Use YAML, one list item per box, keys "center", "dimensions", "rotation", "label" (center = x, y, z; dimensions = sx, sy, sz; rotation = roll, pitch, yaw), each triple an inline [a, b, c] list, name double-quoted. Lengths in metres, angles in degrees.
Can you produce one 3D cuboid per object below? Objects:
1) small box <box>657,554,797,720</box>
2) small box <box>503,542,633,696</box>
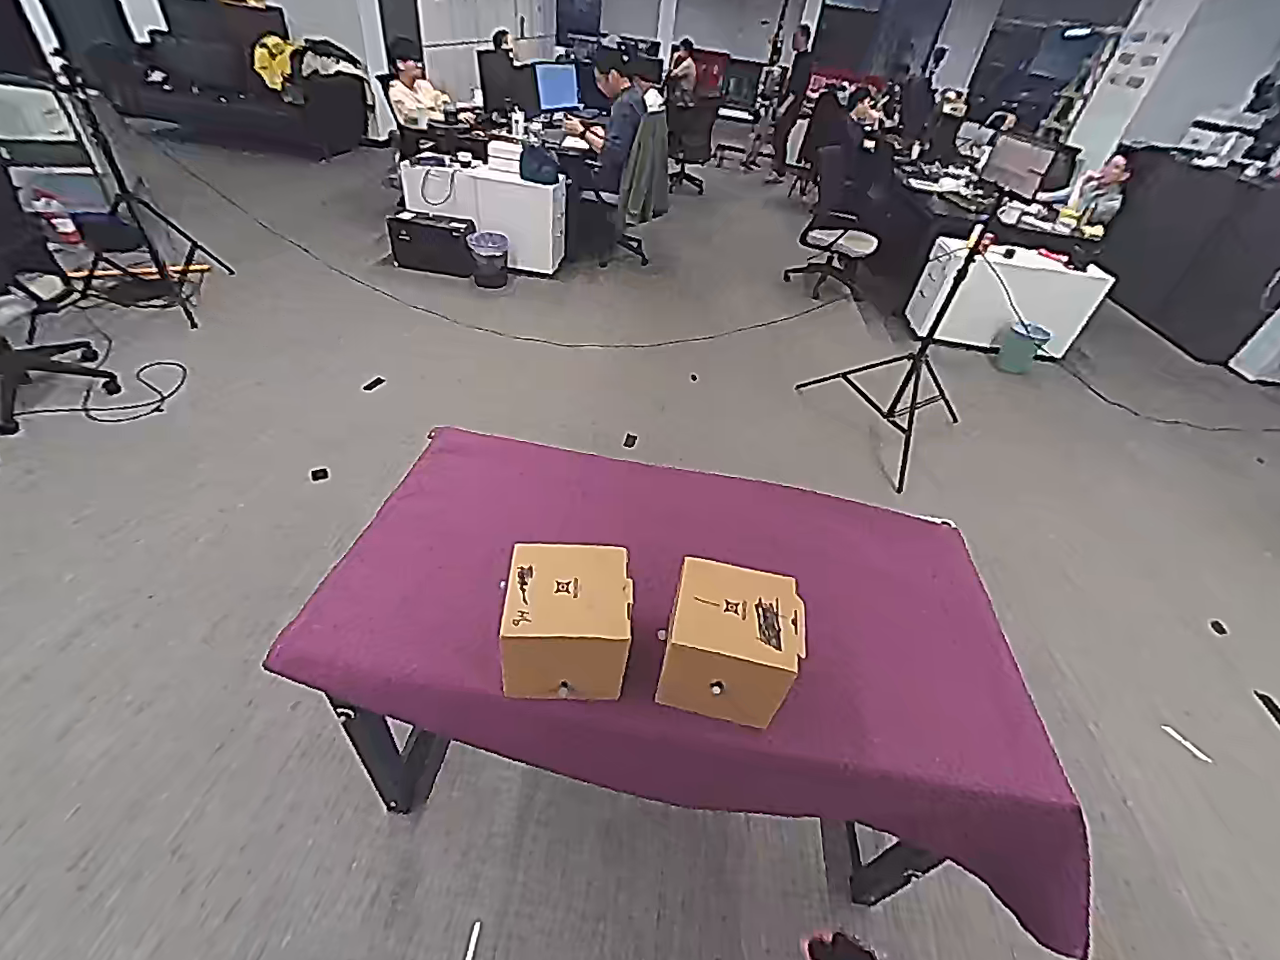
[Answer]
- center: [0.133, 0.246, 0.838]
  dimensions: [0.179, 0.176, 0.168]
  rotation: [12, 40, 5]
  label: "small box"
- center: [-0.110, 0.216, 0.832]
  dimensions: [0.179, 0.176, 0.168]
  rotation: [4, 40, -7]
  label: "small box"
